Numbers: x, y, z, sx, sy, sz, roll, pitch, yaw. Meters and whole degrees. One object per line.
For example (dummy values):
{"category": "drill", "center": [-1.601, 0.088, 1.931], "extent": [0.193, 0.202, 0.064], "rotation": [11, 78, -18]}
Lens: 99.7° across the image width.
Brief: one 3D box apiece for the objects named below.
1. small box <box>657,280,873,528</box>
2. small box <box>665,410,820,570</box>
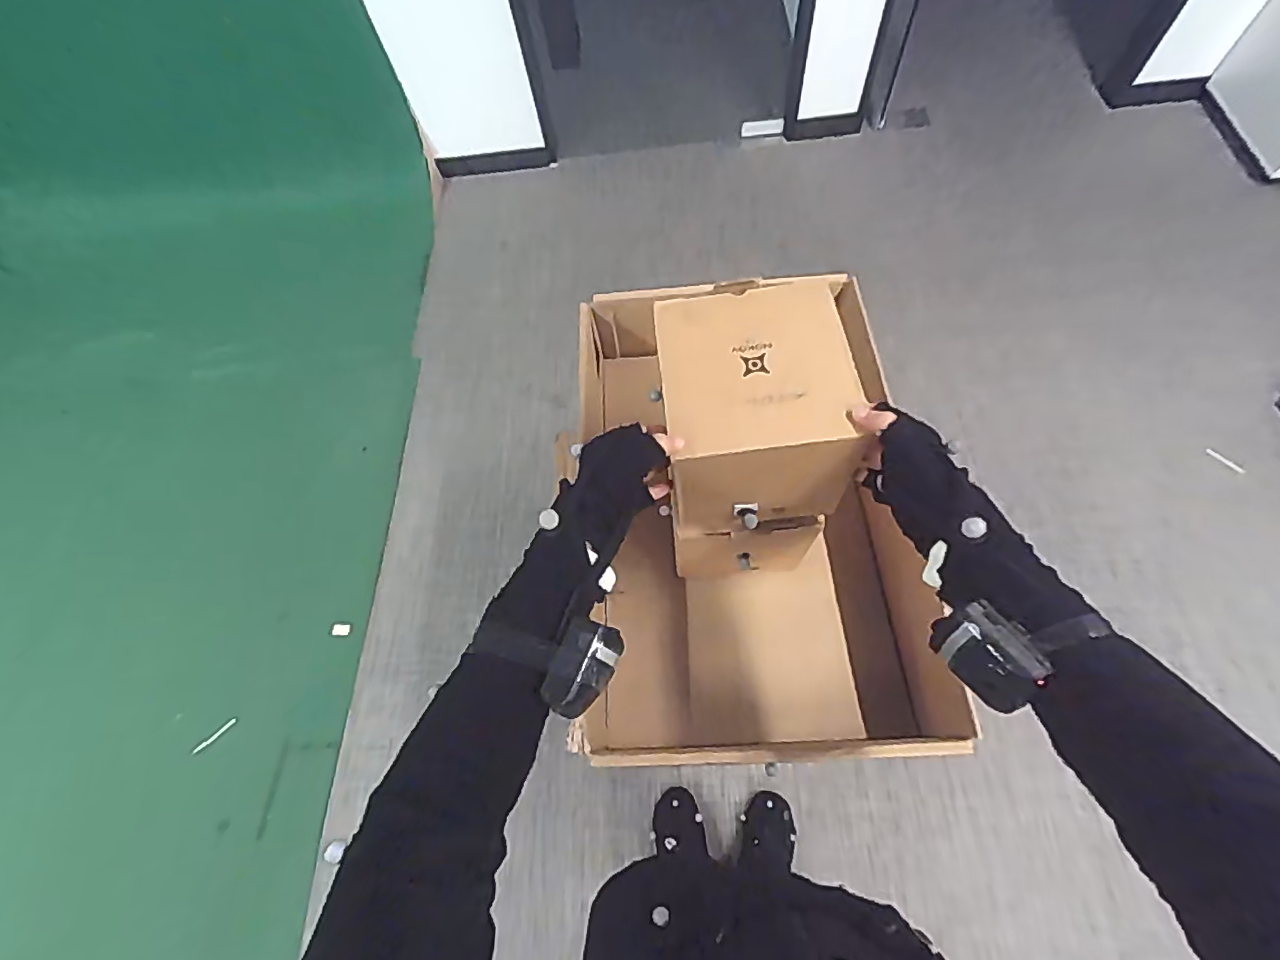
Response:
{"category": "small box", "center": [0.109, -0.067, 0.544], "extent": [0.168, 0.176, 0.179], "rotation": [-7, 65, 5]}
{"category": "small box", "center": [0.121, 0.014, 0.702], "extent": [0.168, 0.176, 0.179], "rotation": [-4, 65, 2]}
